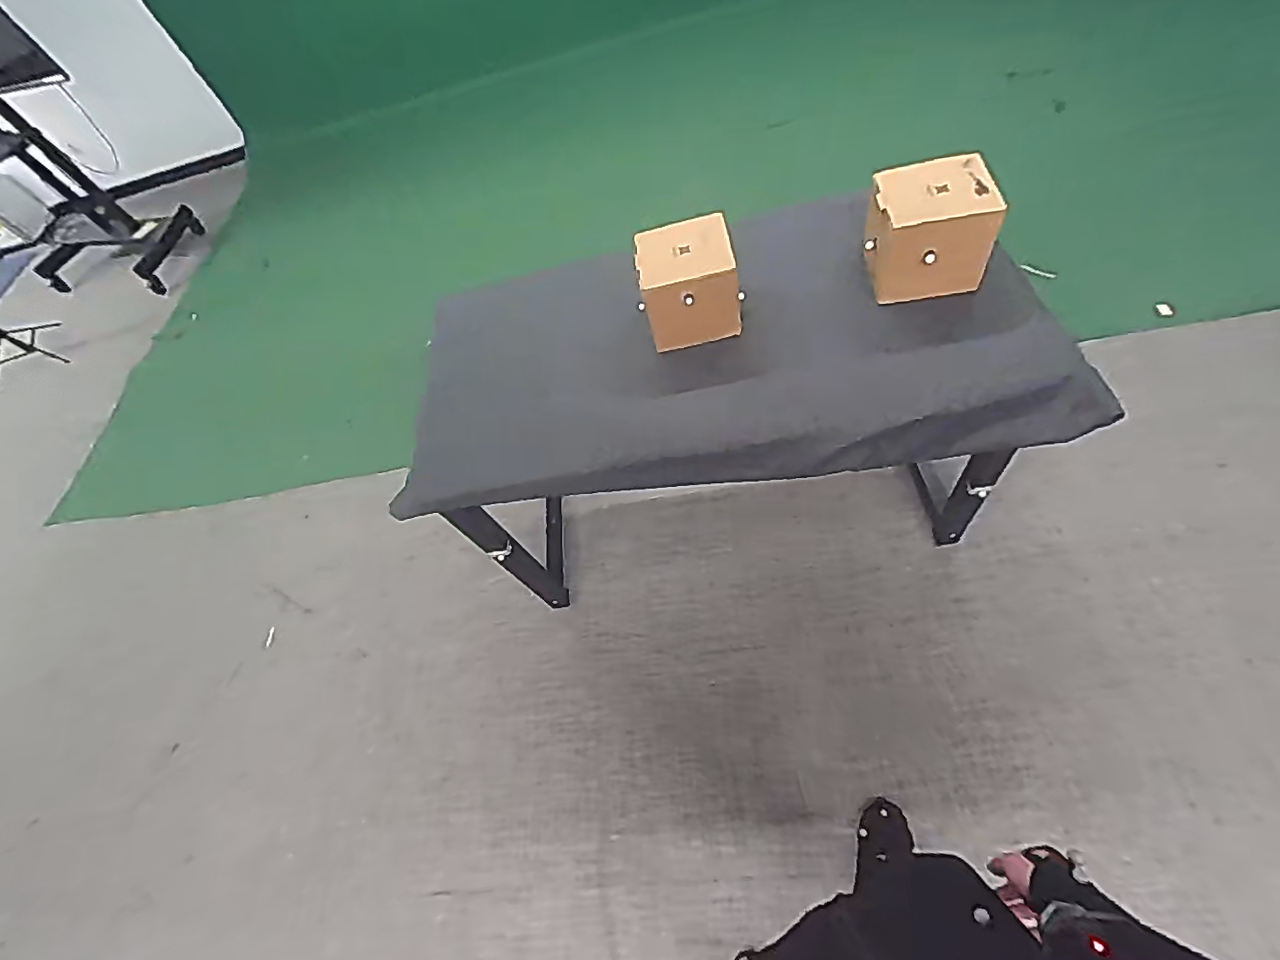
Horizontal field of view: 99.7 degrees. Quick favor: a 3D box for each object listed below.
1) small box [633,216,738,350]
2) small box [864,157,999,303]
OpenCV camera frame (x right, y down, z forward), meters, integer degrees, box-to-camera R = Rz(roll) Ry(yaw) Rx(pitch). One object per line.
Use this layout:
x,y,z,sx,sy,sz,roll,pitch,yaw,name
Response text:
0.092,-0.380,1.066,0.179,0.176,0.168,-10,59,7,small box
0.517,-0.449,0.992,0.179,0.176,0.168,-6,60,12,small box
